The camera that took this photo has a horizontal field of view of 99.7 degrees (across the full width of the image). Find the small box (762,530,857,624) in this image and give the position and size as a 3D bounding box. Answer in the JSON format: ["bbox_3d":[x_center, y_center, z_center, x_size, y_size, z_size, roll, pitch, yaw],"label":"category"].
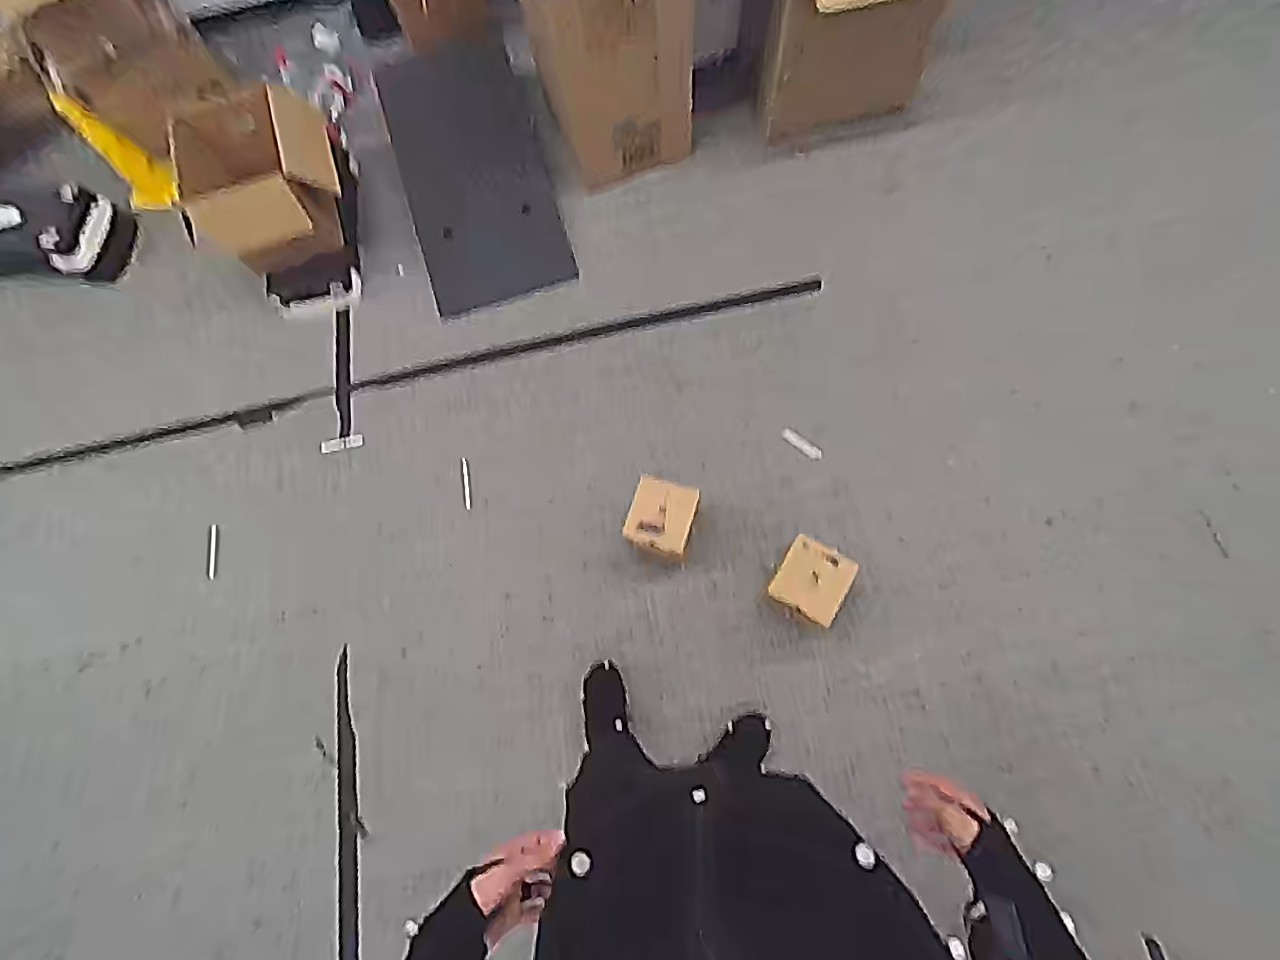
[{"bbox_3d":[0.429,0.256,1.400,0.168,0.176,0.179,31,79,13],"label":"small box"}]

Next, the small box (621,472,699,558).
[{"bbox_3d":[0.061,0.103,1.481,0.168,0.176,0.179,16,74,10],"label":"small box"}]
